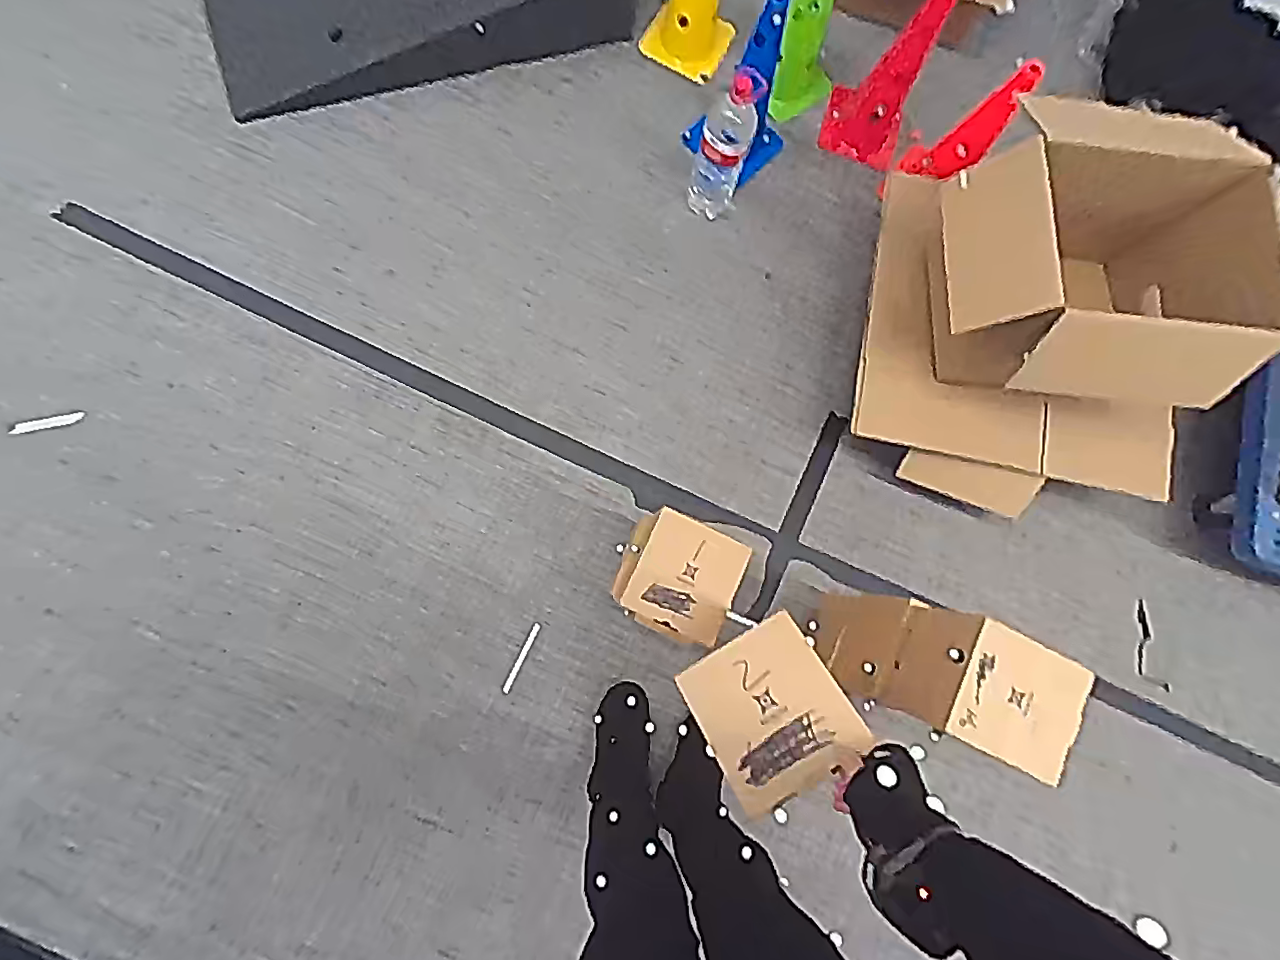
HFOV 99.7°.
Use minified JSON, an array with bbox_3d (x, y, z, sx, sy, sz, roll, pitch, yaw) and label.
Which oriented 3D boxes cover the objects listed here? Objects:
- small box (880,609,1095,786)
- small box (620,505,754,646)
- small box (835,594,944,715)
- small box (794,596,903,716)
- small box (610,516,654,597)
[{"bbox_3d":[0.501,0.305,0.801,0.179,0.176,0.168,28,81,-3],"label":"small box"},{"bbox_3d":[0.072,0.164,0.943,0.168,0.176,0.179,26,78,-1],"label":"small box"},{"bbox_3d":[0.477,0.316,0.963,0.168,0.176,0.179,26,80,-3],"label":"small box"},{"bbox_3d":[0.455,0.351,1.121,0.179,0.176,0.168,30,79,-1],"label":"small box"},{"bbox_3d":[0.050,0.186,1.105,0.179,0.176,0.168,23,79,-1],"label":"small box"}]
